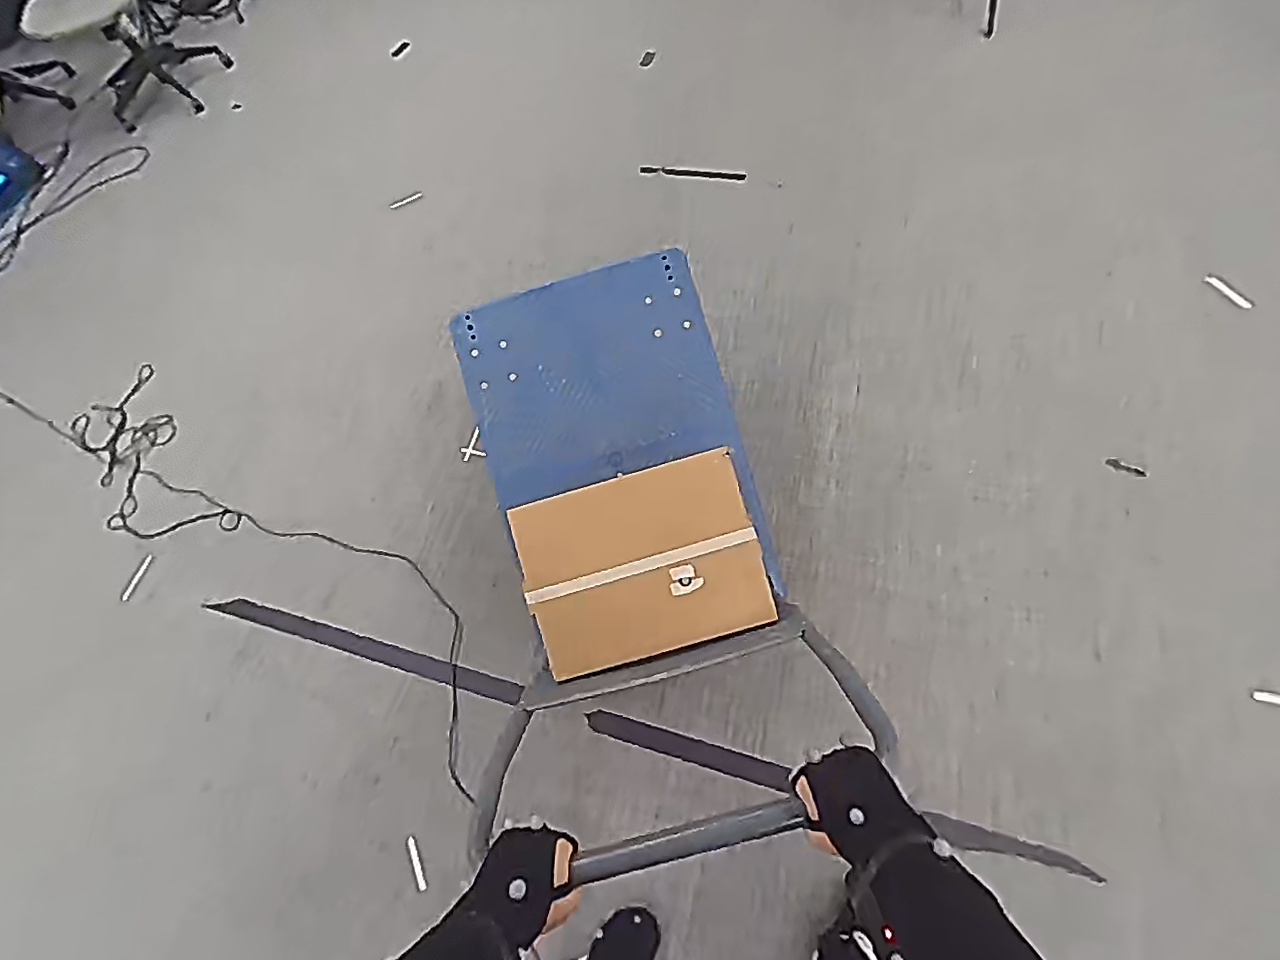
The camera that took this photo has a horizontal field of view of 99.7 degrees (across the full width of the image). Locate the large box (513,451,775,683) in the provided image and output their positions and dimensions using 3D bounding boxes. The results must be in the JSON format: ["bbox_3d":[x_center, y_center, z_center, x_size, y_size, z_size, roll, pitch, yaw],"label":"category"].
[{"bbox_3d":[0.007,0.160,1.103,0.408,0.320,0.320,-18,88,0],"label":"large box"}]
